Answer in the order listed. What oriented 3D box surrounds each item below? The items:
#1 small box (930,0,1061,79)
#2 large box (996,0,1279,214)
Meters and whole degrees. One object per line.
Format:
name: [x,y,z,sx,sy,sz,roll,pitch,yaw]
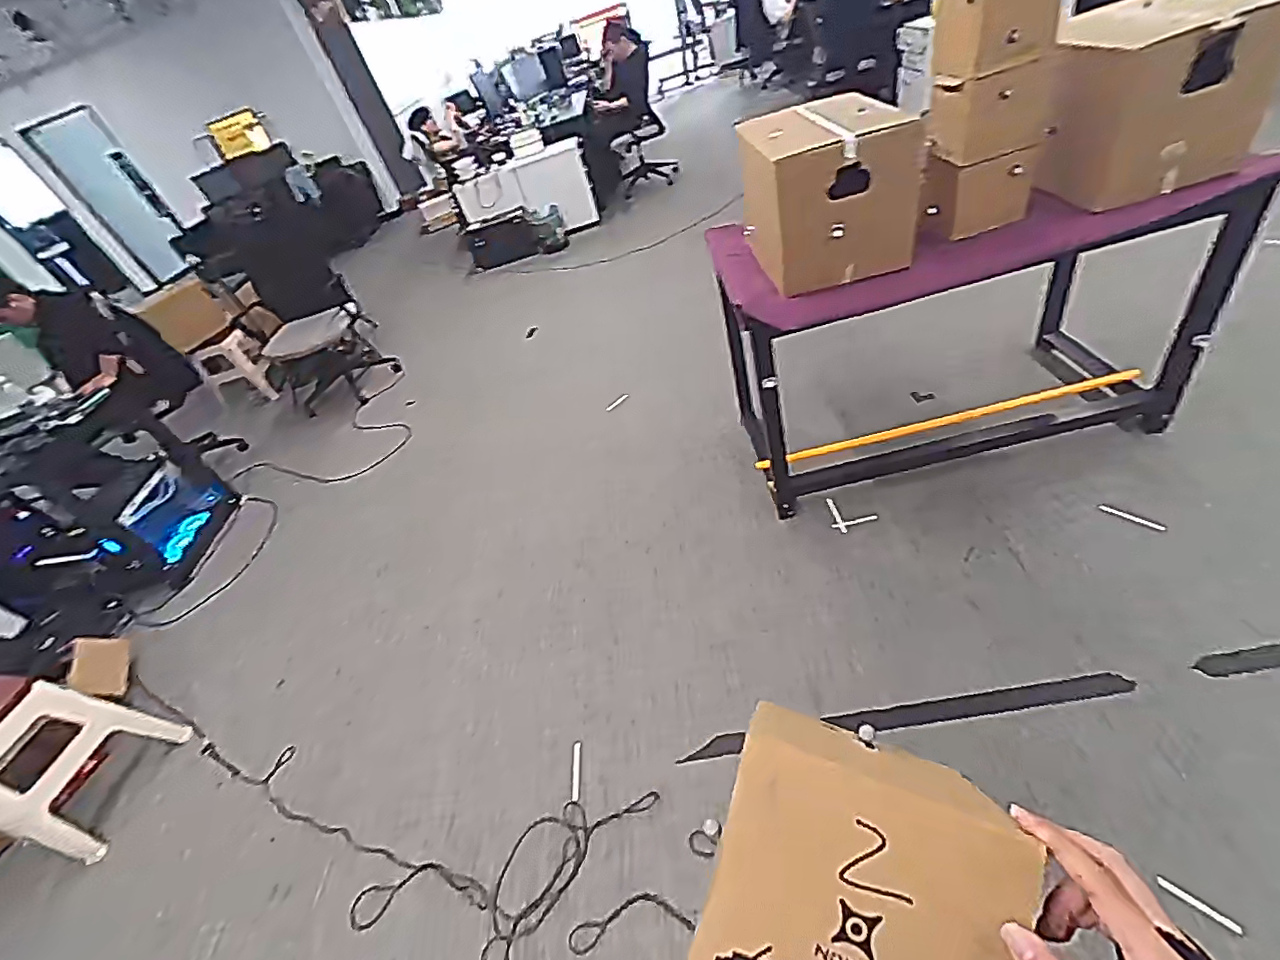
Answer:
small box: [0.722,-0.950,1.110,0.168,0.176,0.179,-17,41,3]
large box: [1.116,-0.867,1.259,0.320,0.320,0.408,-14,40,7]
